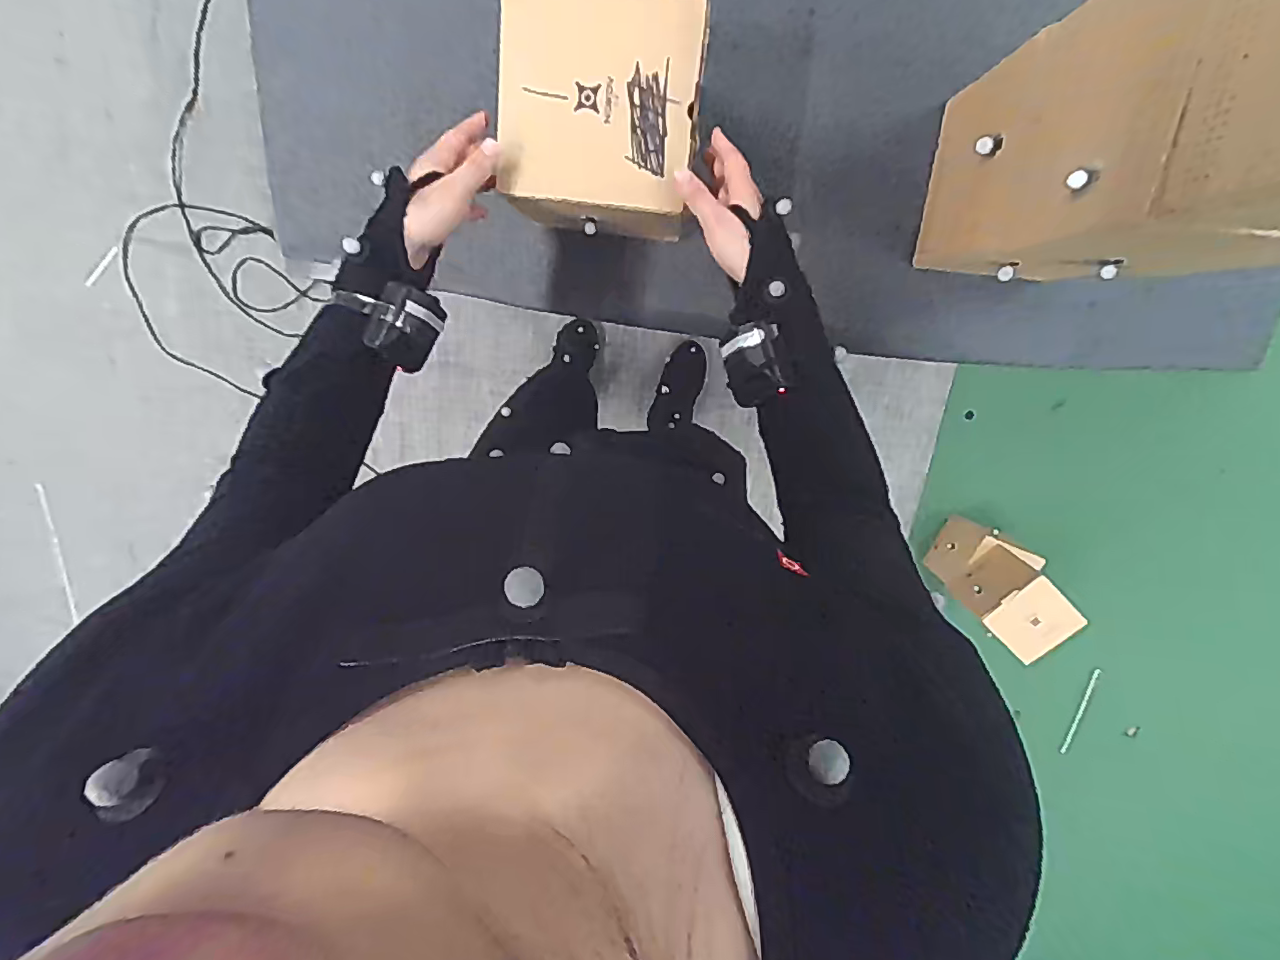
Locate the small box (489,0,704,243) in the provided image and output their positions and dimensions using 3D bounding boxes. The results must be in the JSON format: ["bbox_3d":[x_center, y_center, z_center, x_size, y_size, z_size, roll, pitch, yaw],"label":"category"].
[{"bbox_3d":[-0.039,-0.342,0.544,0.179,0.176,0.168,7,106,1],"label":"small box"}]

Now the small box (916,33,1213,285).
[{"bbox_3d":[0.404,-0.296,0.540,0.168,0.176,0.179,6,106,1],"label":"small box"}]

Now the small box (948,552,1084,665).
[{"bbox_3d":[0.886,0.296,1.296,0.179,0.176,0.168,42,106,-11],"label":"small box"}]

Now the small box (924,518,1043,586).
[{"bbox_3d":[0.902,0.219,1.441,0.179,0.176,0.168,22,107,-4],"label":"small box"}]
